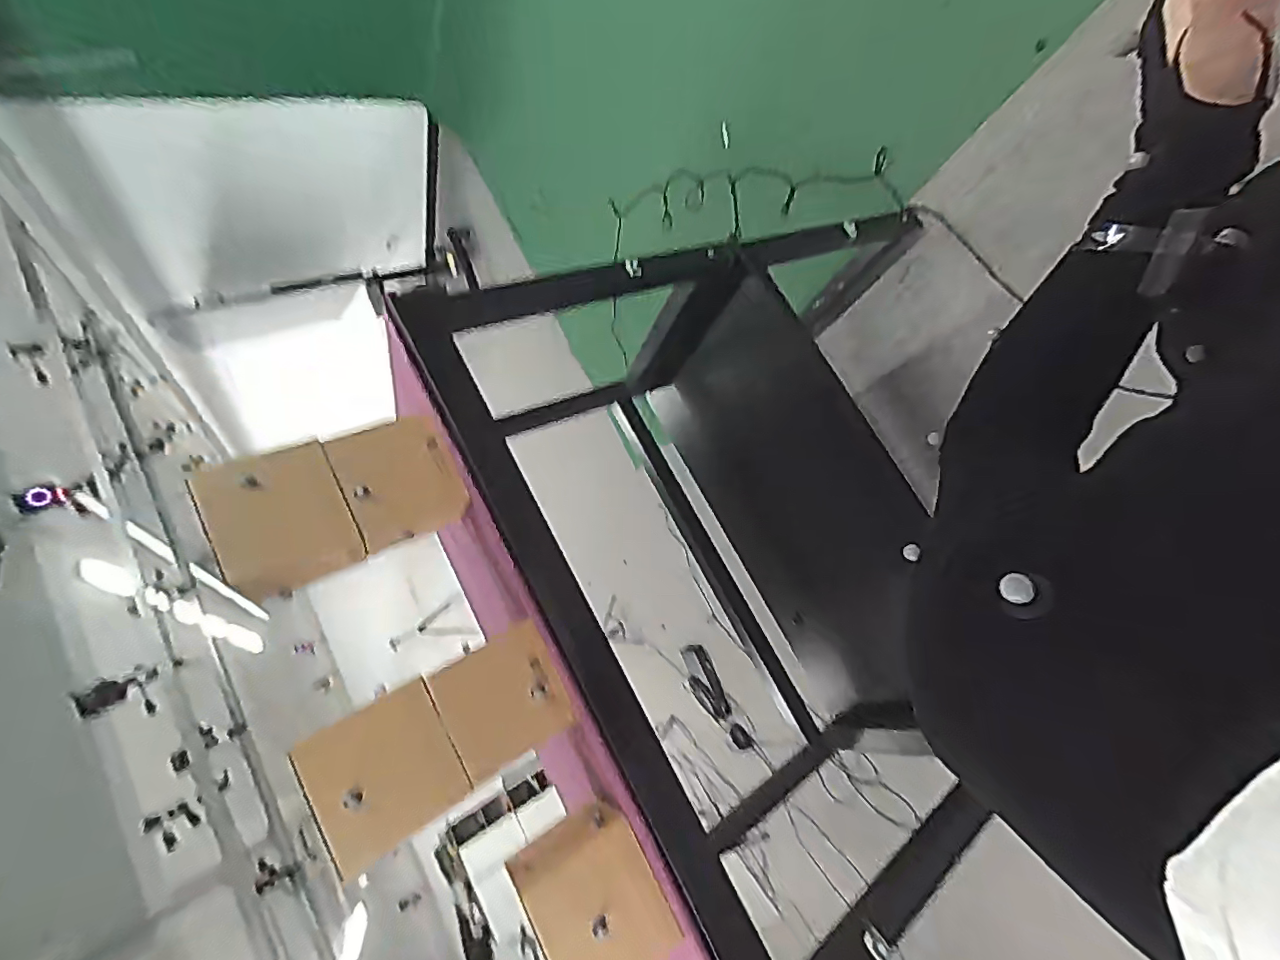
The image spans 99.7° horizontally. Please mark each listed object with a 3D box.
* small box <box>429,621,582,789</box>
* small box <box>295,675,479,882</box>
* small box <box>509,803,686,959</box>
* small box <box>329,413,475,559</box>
[{"bbox_3d":[-0.208,0.335,0.832,0.168,0.176,0.179,61,151,8],"label":"small box"},{"bbox_3d":[-0.338,0.395,0.751,0.179,0.176,0.168,61,152,9],"label":"small box"},{"bbox_3d":[-0.066,0.603,0.777,0.179,0.176,0.168,61,152,10],"label":"small box"},{"bbox_3d":[-0.393,0.012,0.909,0.168,0.176,0.179,62,151,7],"label":"small box"}]
